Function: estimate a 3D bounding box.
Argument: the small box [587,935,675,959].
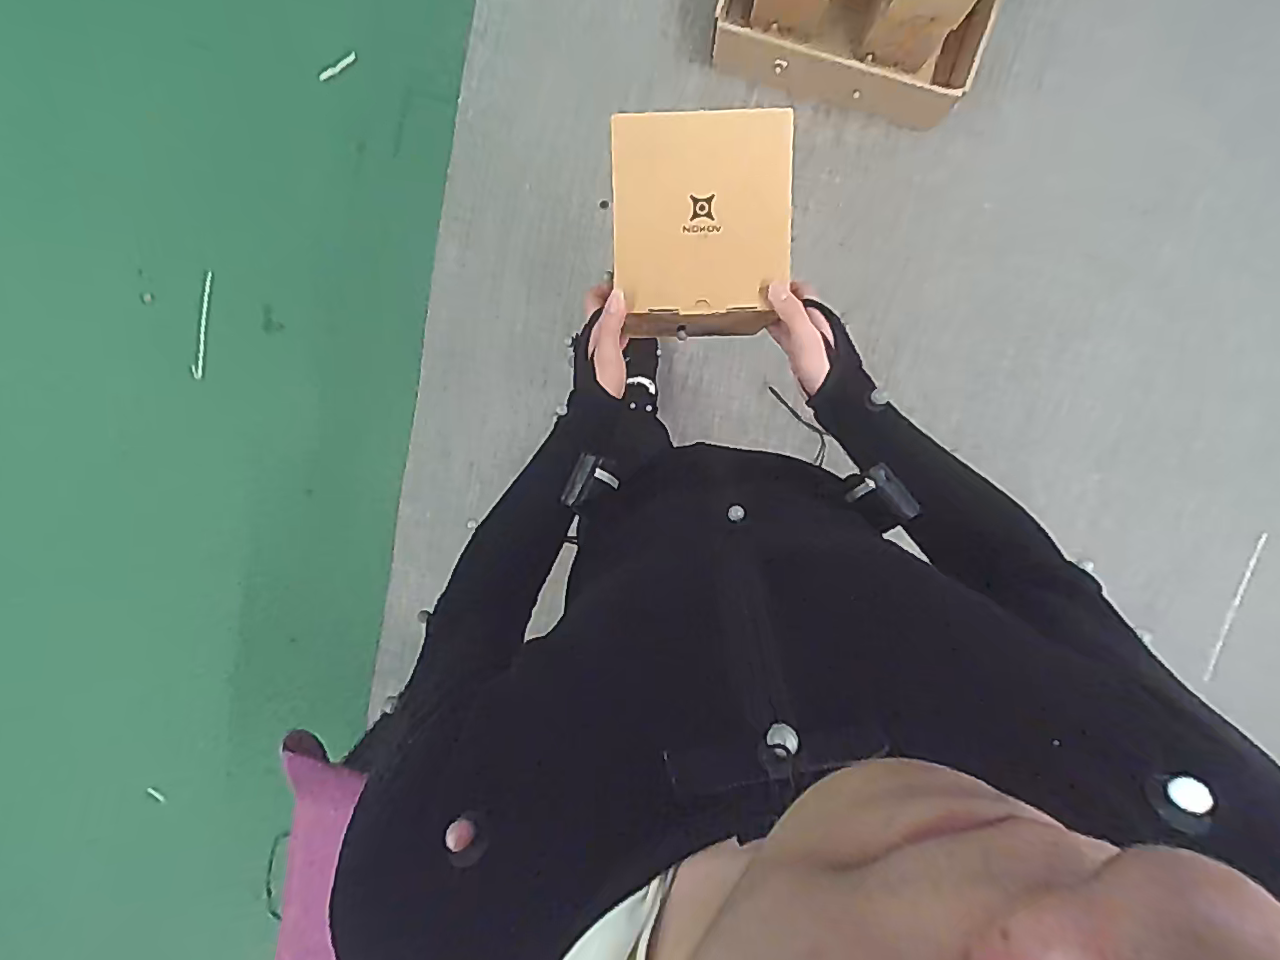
[{"bbox_3d":[-0.028,0.945,0.927,0.168,0.176,0.179,10,99,1],"label":"small box"}]

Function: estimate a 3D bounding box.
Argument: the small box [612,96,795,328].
[{"bbox_3d":[0.057,-0.261,0.565,0.168,0.176,0.179,-1,98,2],"label":"small box"}]
